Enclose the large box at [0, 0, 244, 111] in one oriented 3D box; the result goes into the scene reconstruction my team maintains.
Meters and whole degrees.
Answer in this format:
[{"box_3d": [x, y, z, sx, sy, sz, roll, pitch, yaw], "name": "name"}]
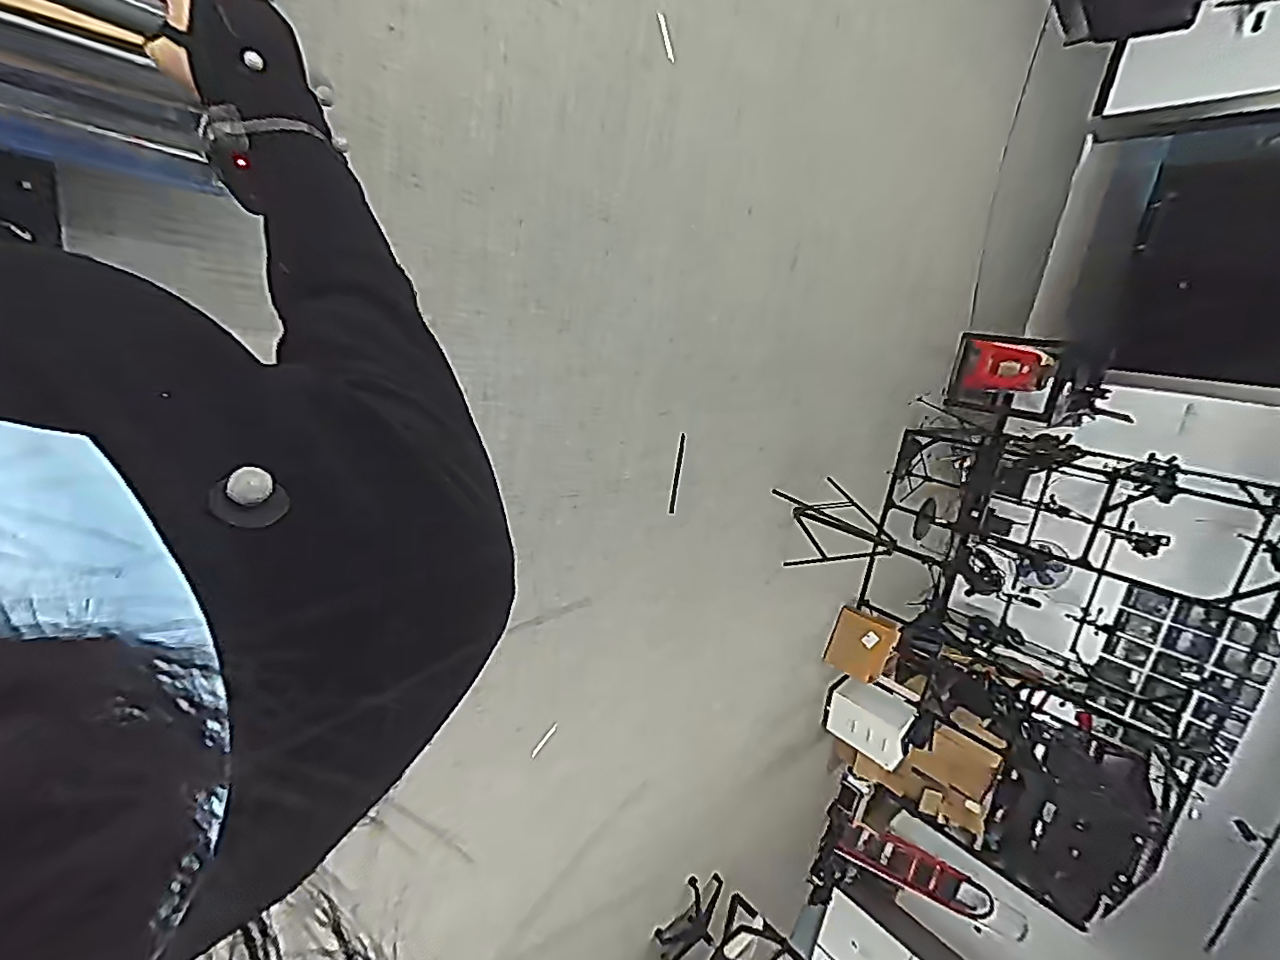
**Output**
[{"box_3d": [-0.782, -0.717, 0.667, 0.408, 0.320, 0.320, -11, 114, -44], "name": "large box"}]
